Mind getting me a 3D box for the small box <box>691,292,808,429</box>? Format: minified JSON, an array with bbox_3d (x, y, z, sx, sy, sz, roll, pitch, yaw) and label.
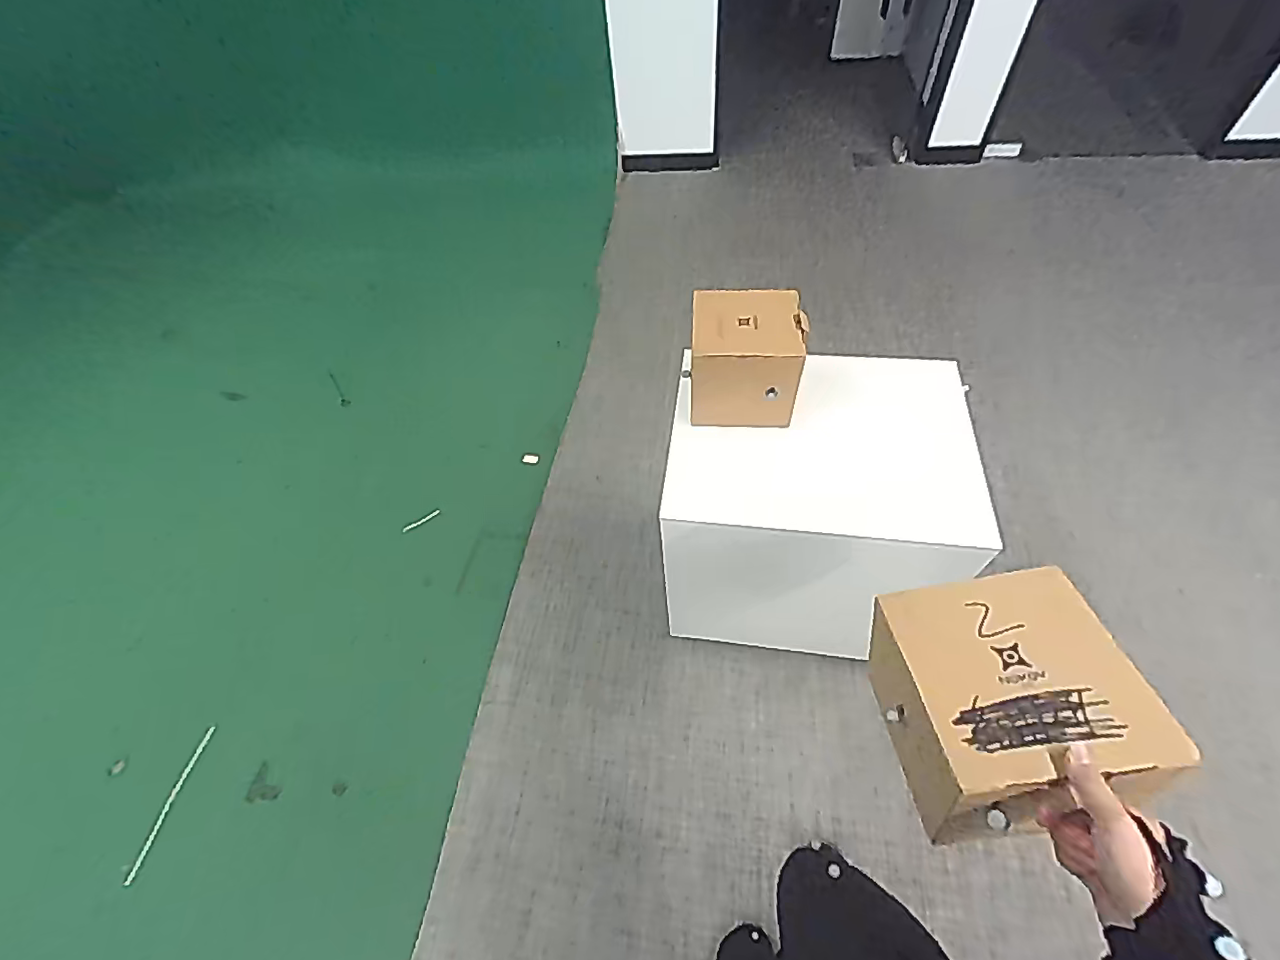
[{"bbox_3d":[0.179,-0.201,0.931,0.179,0.176,0.168,1,54,6],"label":"small box"}]
